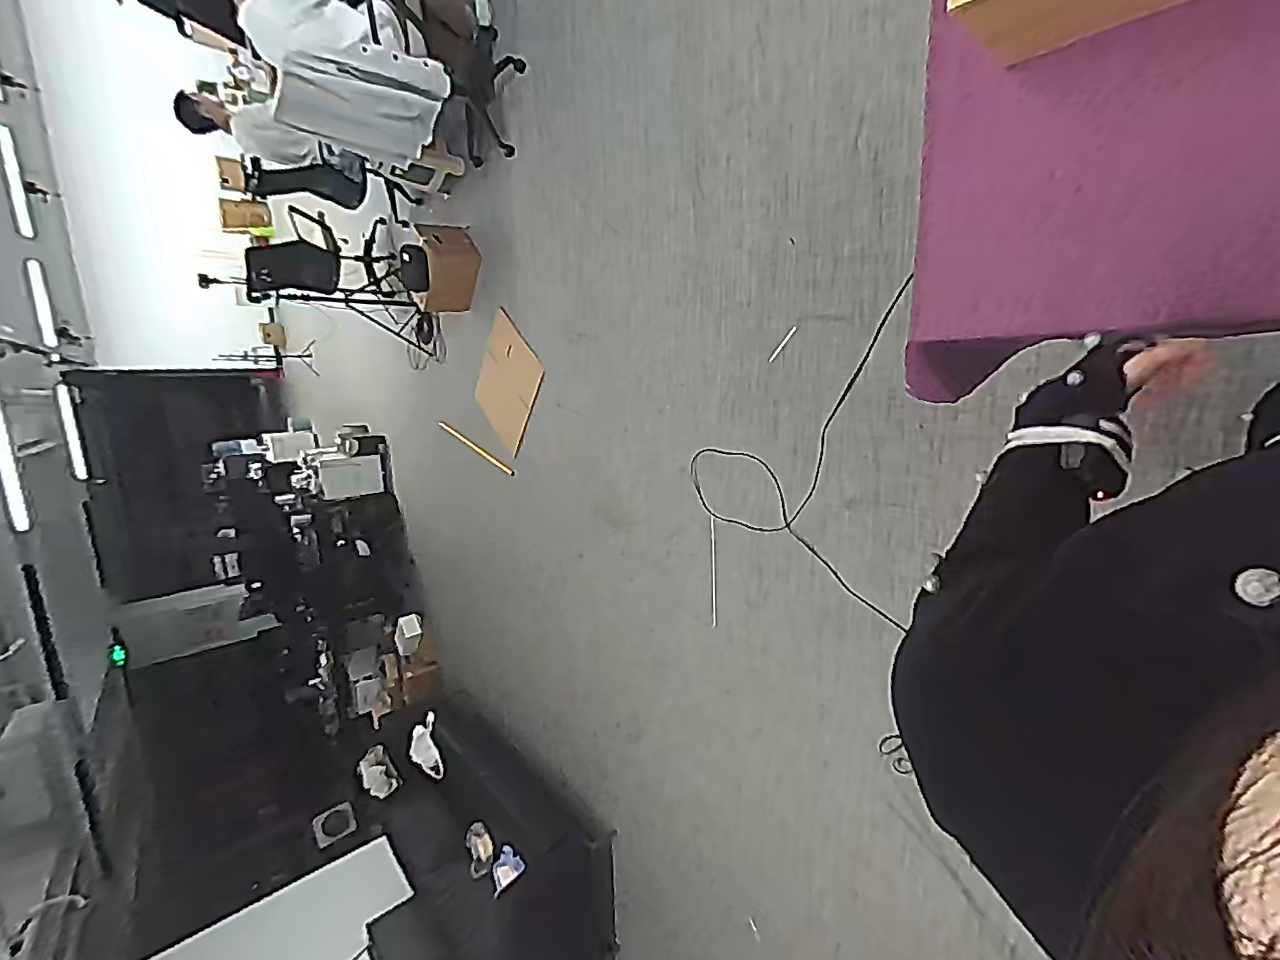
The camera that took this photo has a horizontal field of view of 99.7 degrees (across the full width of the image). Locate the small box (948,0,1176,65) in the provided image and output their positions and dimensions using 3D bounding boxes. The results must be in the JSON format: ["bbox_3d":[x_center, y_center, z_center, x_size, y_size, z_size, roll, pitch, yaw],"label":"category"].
[{"bbox_3d":[0.429,-0.546,0.517,0.179,0.176,0.168,14,108,49],"label":"small box"}]
